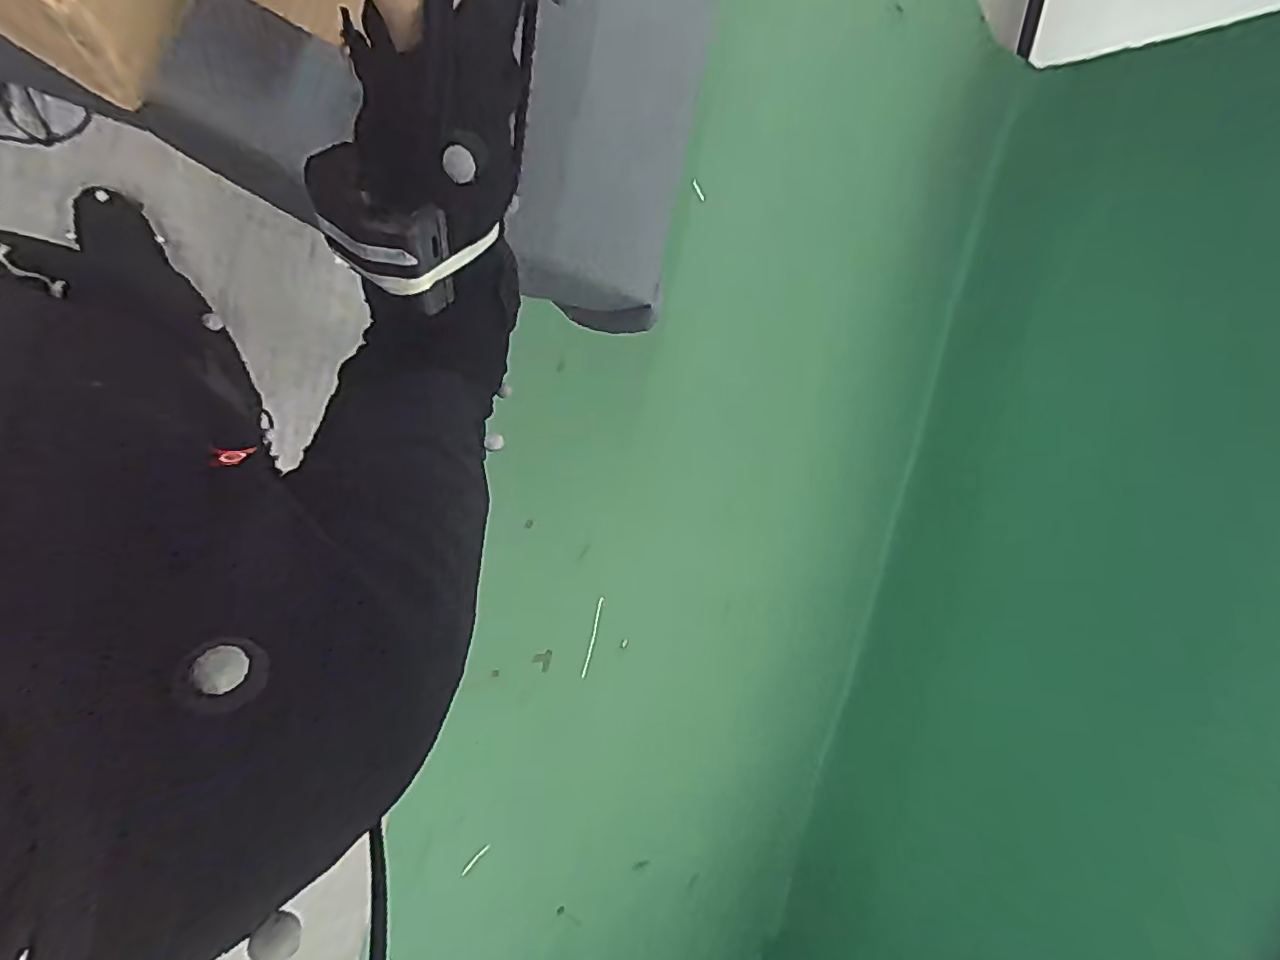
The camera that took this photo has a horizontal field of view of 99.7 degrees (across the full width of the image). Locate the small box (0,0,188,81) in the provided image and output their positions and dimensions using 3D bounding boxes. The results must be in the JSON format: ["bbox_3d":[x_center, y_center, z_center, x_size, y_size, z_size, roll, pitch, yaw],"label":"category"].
[{"bbox_3d":[-0.174,-0.229,0.111,0.168,0.176,0.179,28,92,-45],"label":"small box"}]
